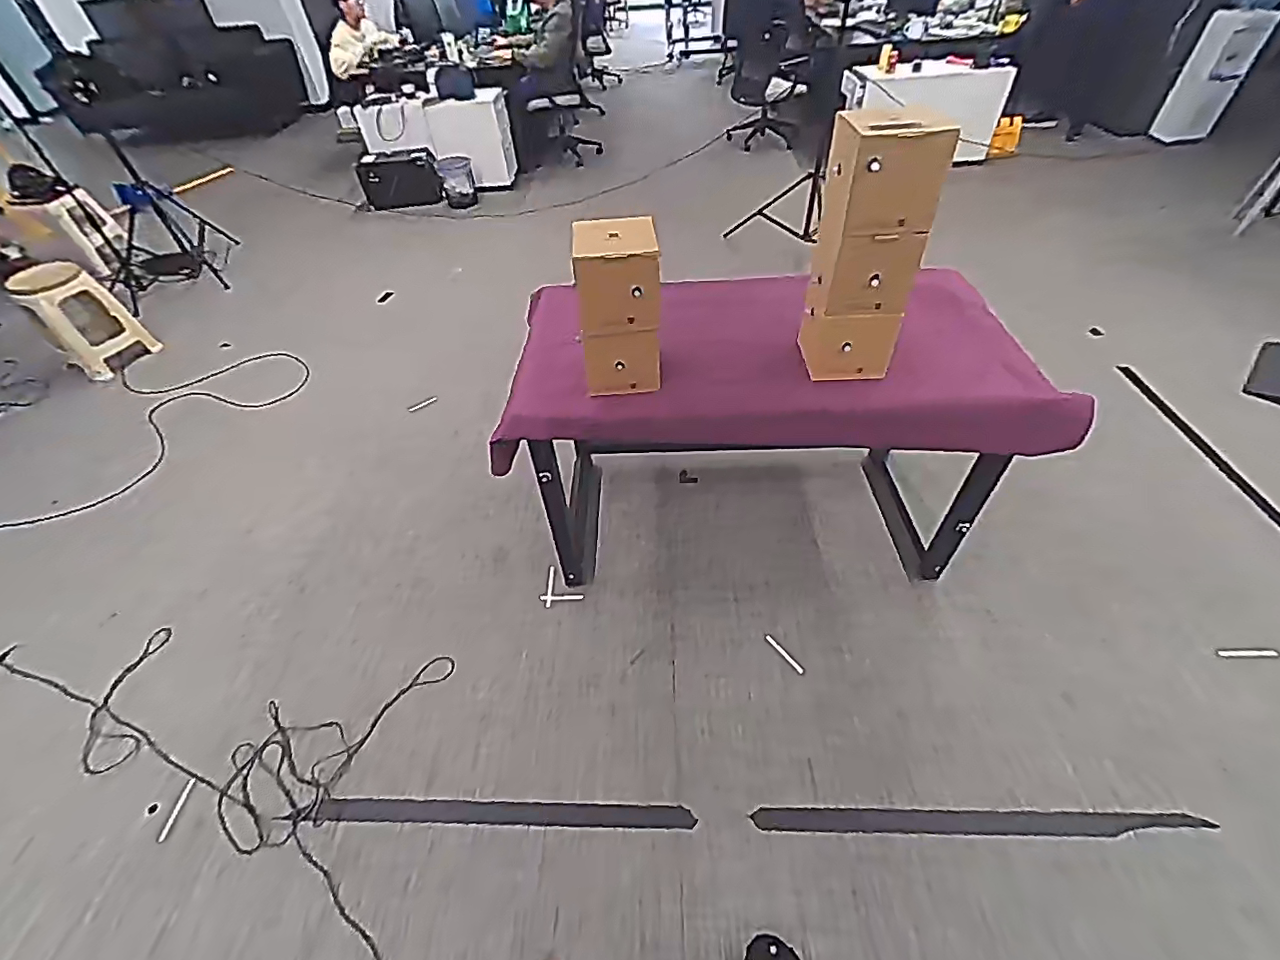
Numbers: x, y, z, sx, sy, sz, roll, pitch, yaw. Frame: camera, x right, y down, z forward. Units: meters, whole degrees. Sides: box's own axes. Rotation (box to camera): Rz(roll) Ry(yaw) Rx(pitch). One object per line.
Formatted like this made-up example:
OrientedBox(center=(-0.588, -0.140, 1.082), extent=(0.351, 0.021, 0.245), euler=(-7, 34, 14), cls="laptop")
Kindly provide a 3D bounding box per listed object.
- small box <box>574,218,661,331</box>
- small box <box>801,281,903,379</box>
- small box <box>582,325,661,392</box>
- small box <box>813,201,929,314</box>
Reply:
OrientedBox(center=(-0.045, -0.422, 1.128), extent=(0.168, 0.176, 0.179), euler=(-5, 45, -2), cls="small box")
OrientedBox(center=(0.479, -0.344, 1.246), extent=(0.168, 0.176, 0.179), euler=(-2, 46, 3), cls="small box")
OrientedBox(center=(-0.040, -0.315, 1.250), extent=(0.168, 0.176, 0.179), euler=(-4, 46, 0), cls="small box")
OrientedBox(center=(0.470, -0.460, 1.131), extent=(0.168, 0.176, 0.179), euler=(-1, 47, 4), cls="small box")
